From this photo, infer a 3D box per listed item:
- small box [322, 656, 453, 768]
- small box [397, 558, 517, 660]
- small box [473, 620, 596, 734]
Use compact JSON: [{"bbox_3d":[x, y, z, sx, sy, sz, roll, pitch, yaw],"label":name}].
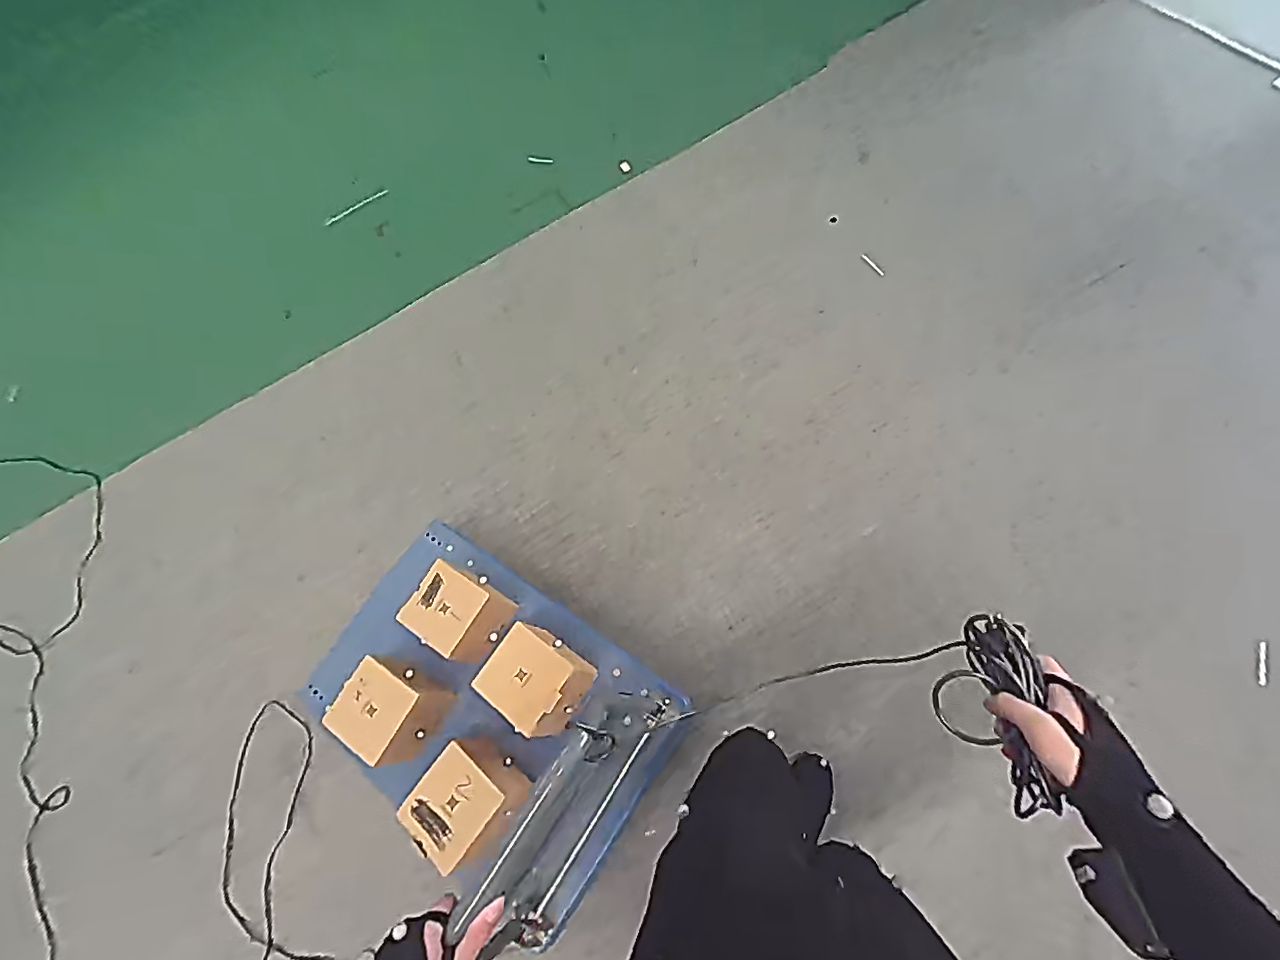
[{"bbox_3d":[-0.567,0.526,1.241,0.179,0.176,0.168,25,74,22],"label":"small box"},{"bbox_3d":[-0.431,0.317,1.299,0.179,0.176,0.168,28,77,21],"label":"small box"},{"bbox_3d":[-0.227,0.439,1.201,0.179,0.176,0.168,31,77,22],"label":"small box"}]
